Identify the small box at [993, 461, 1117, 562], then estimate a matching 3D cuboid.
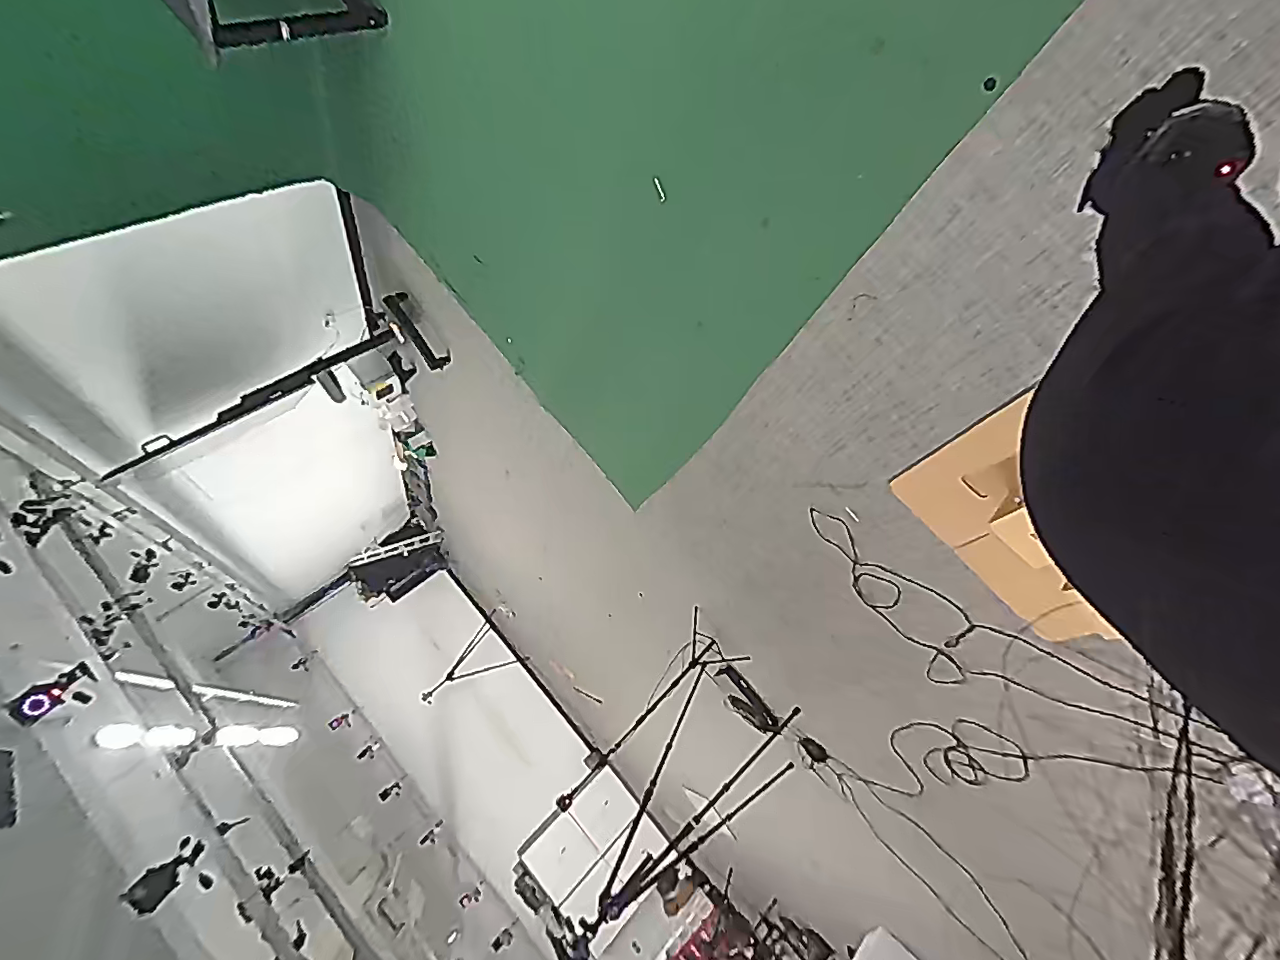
[{"bbox_3d":[1.090,0.082,1.419,0.168,0.176,0.179,47,150,11],"label":"small box"}]
